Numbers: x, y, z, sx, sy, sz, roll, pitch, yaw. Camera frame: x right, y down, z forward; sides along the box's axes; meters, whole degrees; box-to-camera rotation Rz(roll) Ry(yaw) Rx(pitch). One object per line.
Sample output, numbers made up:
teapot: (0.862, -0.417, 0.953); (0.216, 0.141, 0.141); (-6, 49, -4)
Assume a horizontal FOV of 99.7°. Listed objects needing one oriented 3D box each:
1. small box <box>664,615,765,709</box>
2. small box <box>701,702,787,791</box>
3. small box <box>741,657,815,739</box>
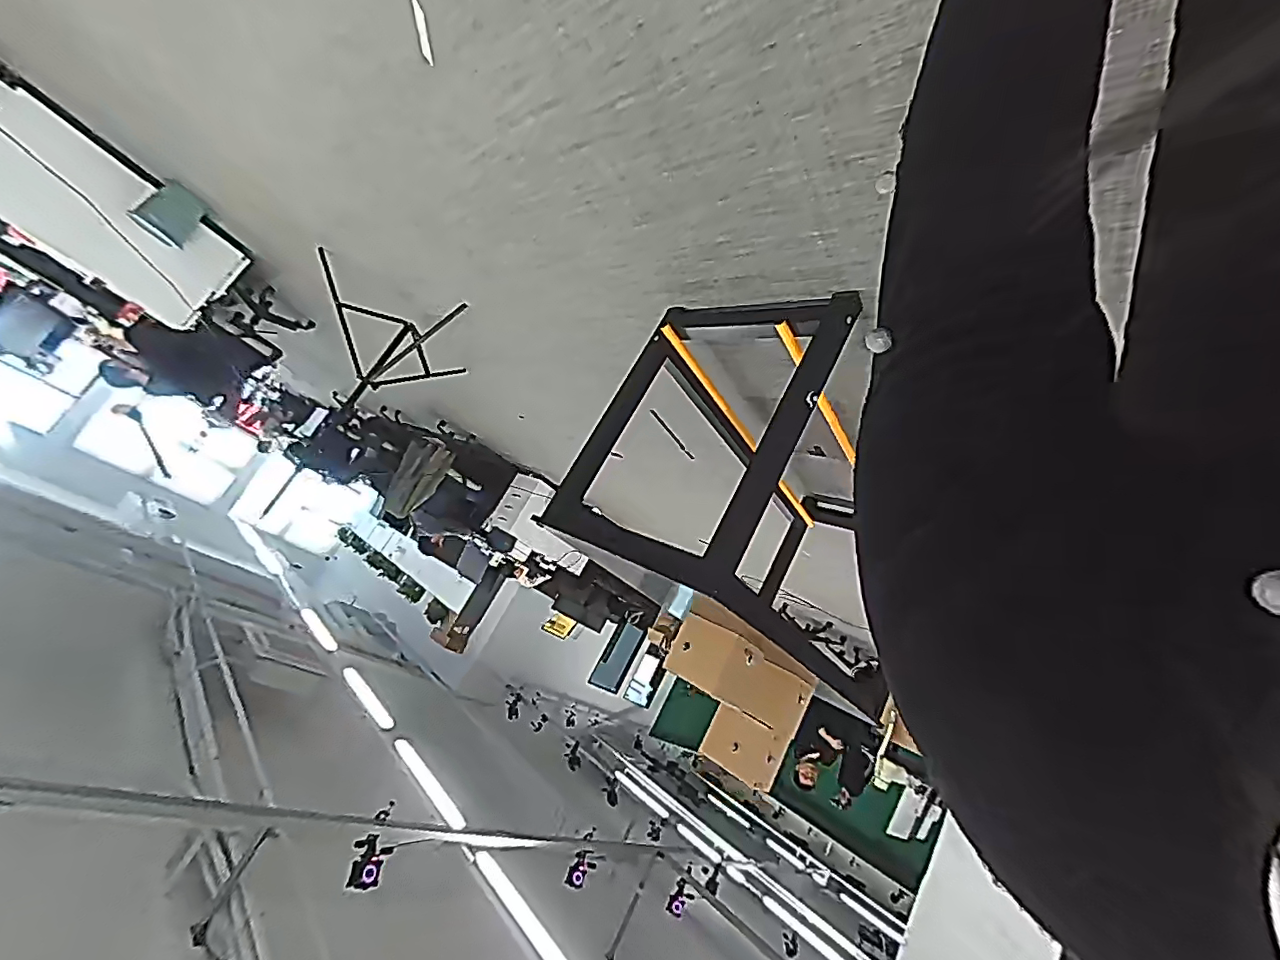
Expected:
small box: (0.203, 0.479, 1.446); (0.179, 0.176, 0.168); (13, 160, 46)
small box: (0.320, 0.793, 1.619); (0.179, 0.176, 0.168); (13, 158, 46)
small box: (0.403, 0.655, 1.652); (0.179, 0.176, 0.168); (15, 160, 44)
